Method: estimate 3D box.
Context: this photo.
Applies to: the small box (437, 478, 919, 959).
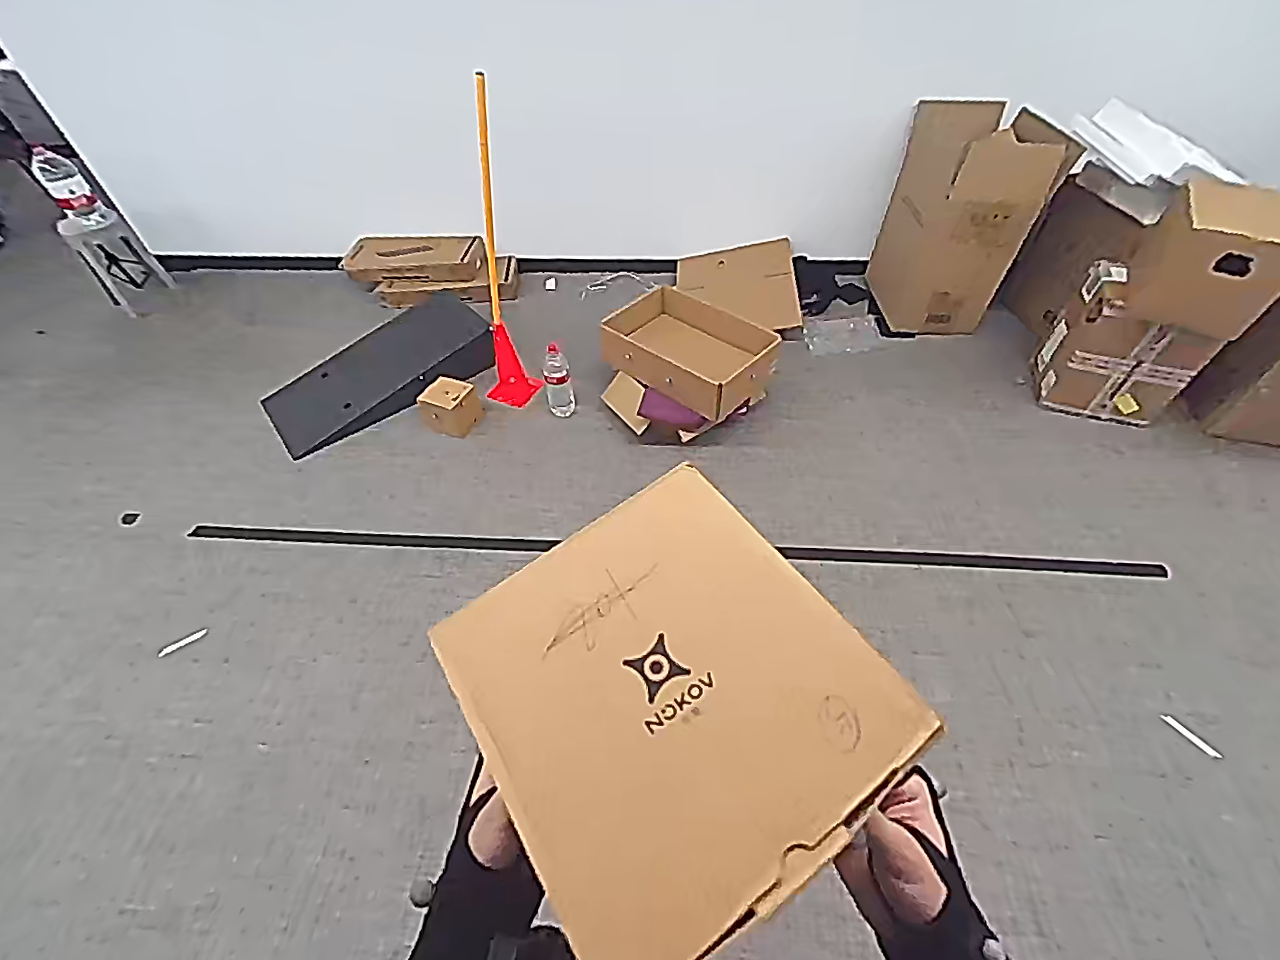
[{"bbox_3d":[0.017,0.139,0.322,0.168,0.176,0.179,-33,57,-16],"label":"small box"}]
